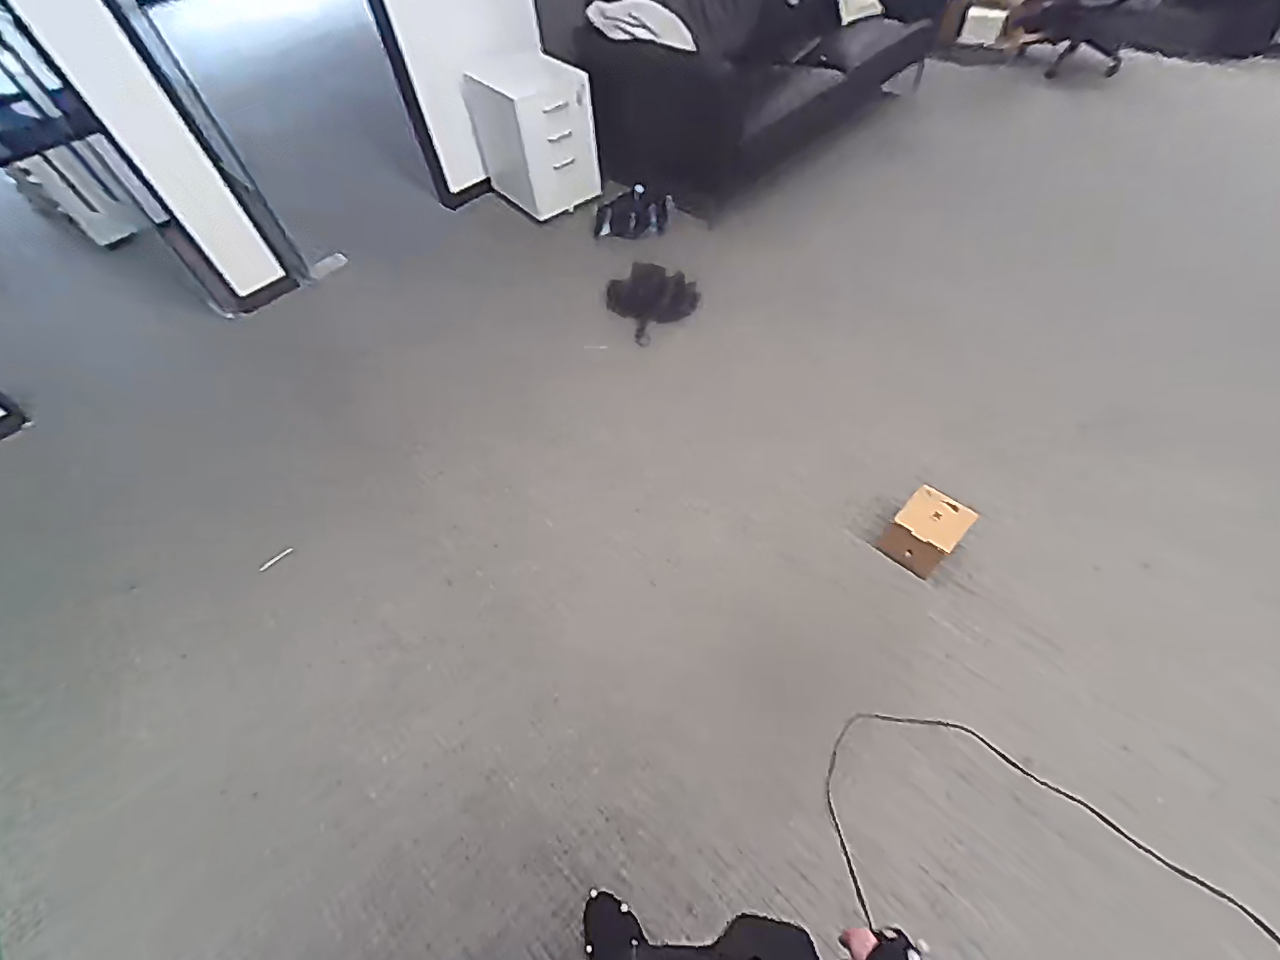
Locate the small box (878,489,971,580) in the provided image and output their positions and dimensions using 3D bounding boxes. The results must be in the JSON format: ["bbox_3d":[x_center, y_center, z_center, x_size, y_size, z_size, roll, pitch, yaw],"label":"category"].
[{"bbox_3d":[0.838,0.168,1.614,0.168,0.176,0.179,37,65,28],"label":"small box"}]
